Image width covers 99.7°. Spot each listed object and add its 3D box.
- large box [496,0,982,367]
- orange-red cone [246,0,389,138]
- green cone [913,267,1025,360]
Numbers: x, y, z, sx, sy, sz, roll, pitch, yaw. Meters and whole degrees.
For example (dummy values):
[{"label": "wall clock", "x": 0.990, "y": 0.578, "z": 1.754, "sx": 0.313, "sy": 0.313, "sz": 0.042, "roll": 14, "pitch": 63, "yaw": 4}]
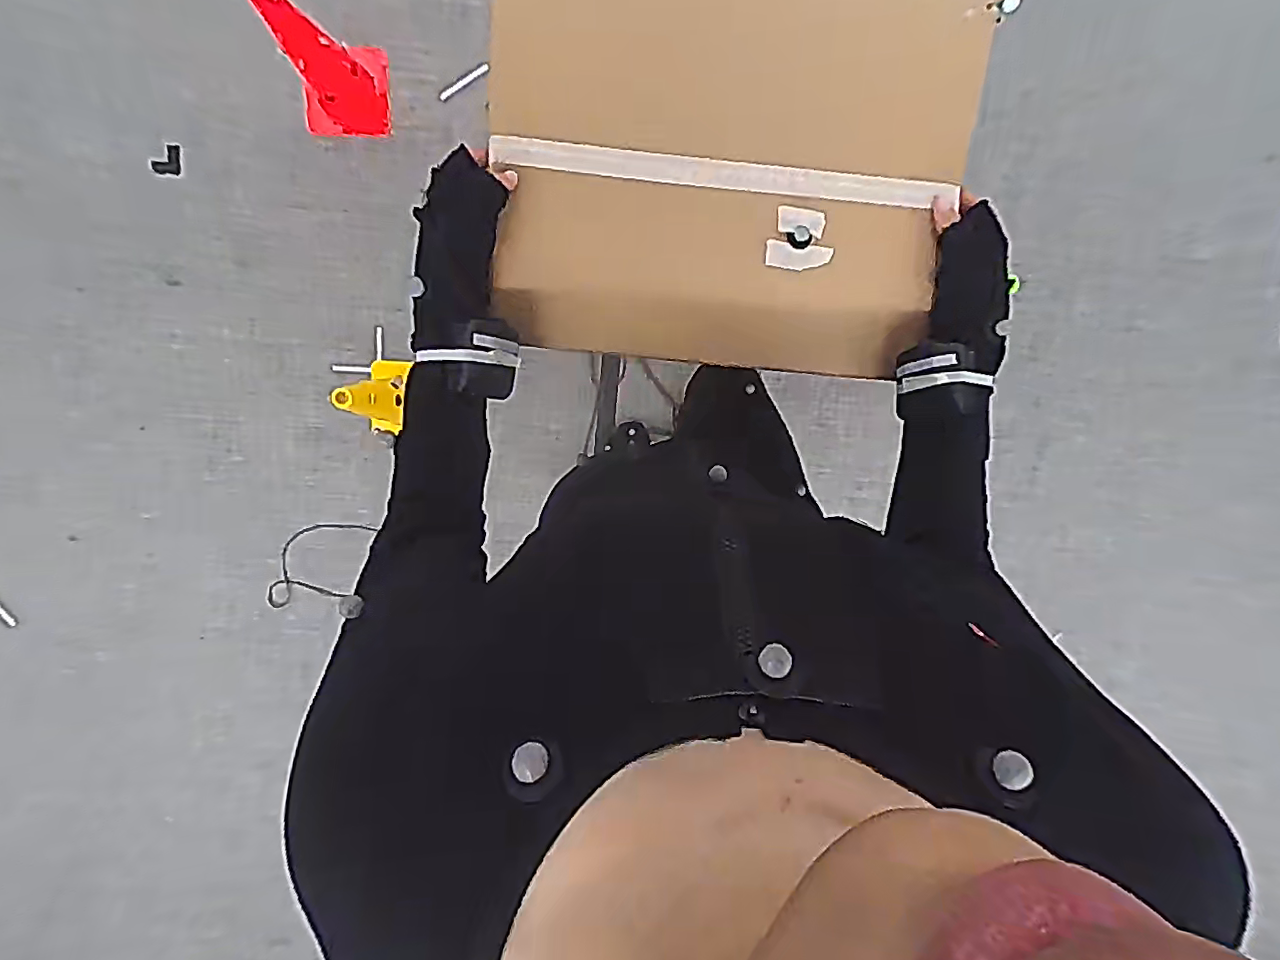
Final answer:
[{"label": "large box", "x": 0.069, "y": -0.302, "z": 0.615, "sx": 0.408, "sy": 0.320, "sz": 0.320, "roll": 4, "pitch": 104, "yaw": -4}, {"label": "orange-red cone", "x": -0.709, "y": -0.914, "z": 1.146, "sx": 0.198, "sy": 0.360, "sz": 0.199, "roll": 2, "pitch": 99, "yaw": -1}, {"label": "green cone", "x": 0.741, "y": -0.416, "z": 1.261, "sx": 0.202, "sy": 0.368, "sz": 0.200, "roll": -33, "pitch": 98, "yaw": 1}]
